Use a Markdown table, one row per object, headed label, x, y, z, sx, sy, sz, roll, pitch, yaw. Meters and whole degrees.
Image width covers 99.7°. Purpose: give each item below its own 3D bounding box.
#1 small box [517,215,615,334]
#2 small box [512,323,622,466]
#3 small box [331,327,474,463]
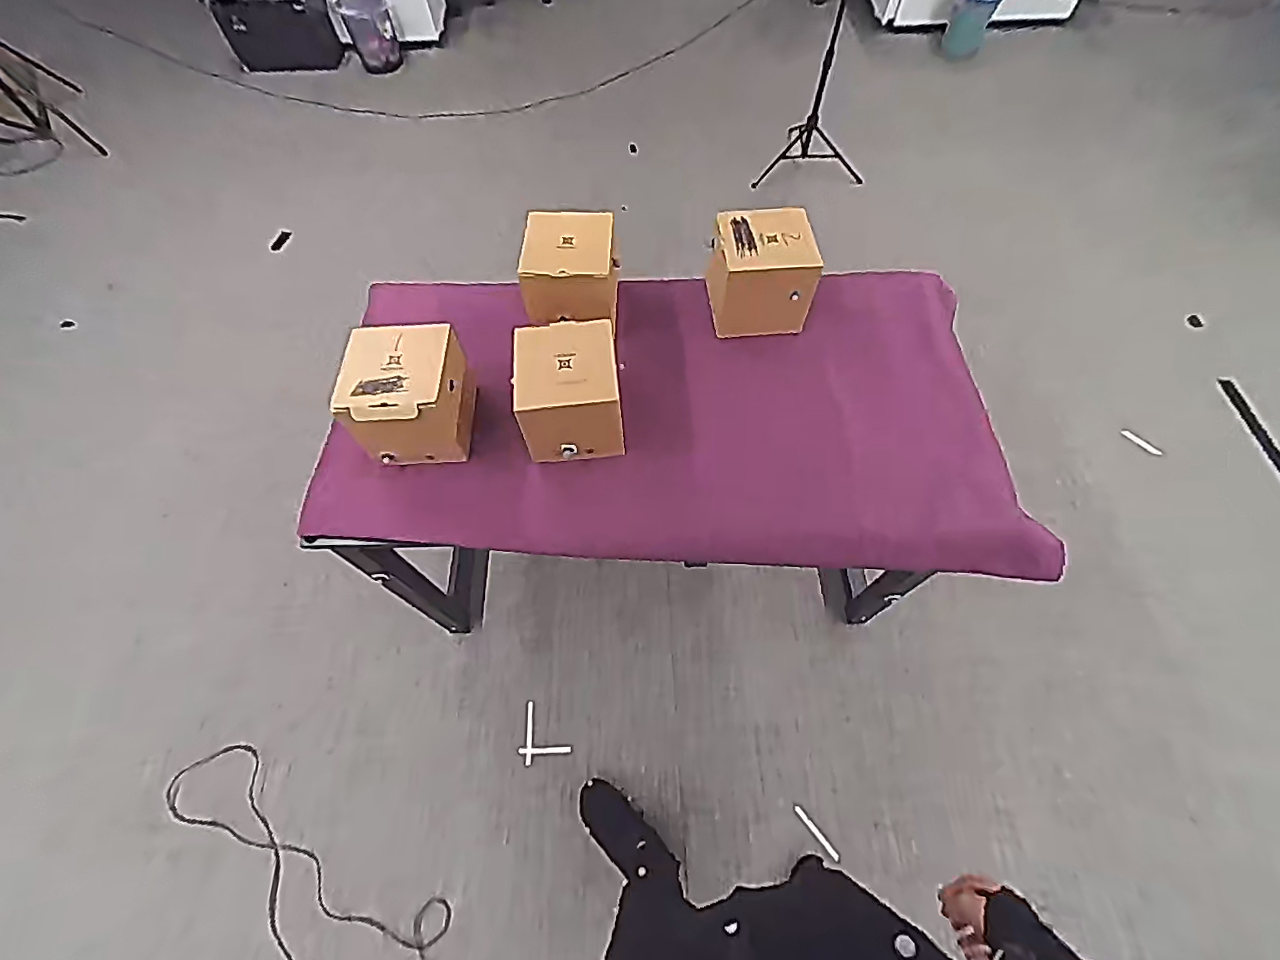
| label | x | y | z | sx | sy | sz | roll | pitch | yaw |
| --- | --- | --- | --- | --- | --- | --- | --- | --- | --- |
| small box | -0.137 | -0.394 | 1.072 | 0.168 | 0.176 | 0.179 | 1 | 62 | 1 |
| small box | -0.122 | -0.145 | 0.940 | 0.168 | 0.176 | 0.179 | -6 | 61 | -1 |
| small box | -0.396 | -0.139 | 0.938 | 0.168 | 0.176 | 0.179 | -3 | 60 | -1 |
